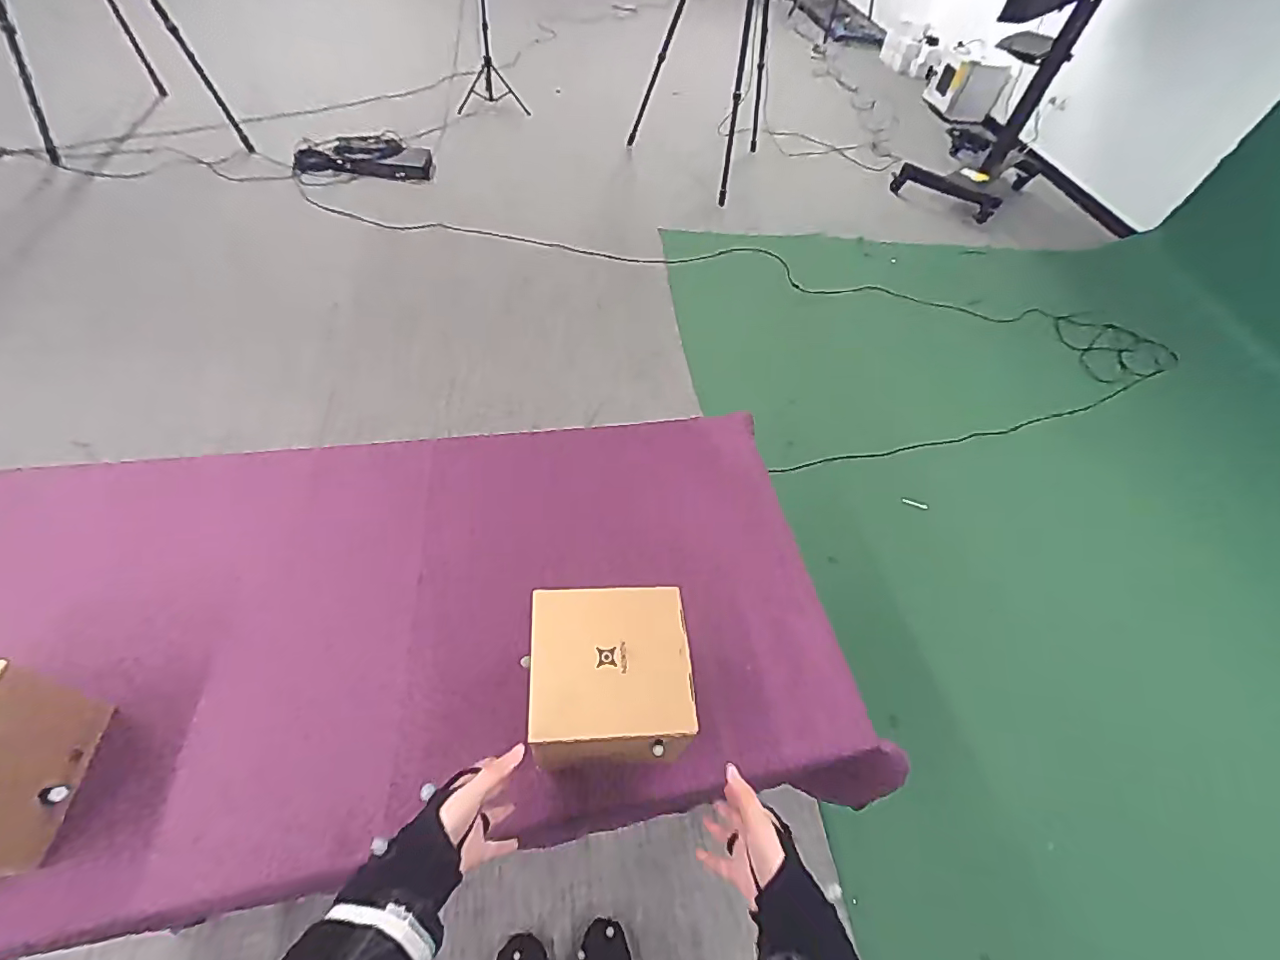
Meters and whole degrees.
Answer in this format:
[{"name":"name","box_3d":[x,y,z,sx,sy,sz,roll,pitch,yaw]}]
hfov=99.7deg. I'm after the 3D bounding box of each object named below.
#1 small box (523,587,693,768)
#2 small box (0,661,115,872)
[{"name":"small box","box_3d":[-0.045,0.242,0.658,0.179,0.176,0.168,0,54,-9]},{"name":"small box","box_3d":[-0.696,0.286,0.528,0.179,0.176,0.168,1,54,-8]}]
